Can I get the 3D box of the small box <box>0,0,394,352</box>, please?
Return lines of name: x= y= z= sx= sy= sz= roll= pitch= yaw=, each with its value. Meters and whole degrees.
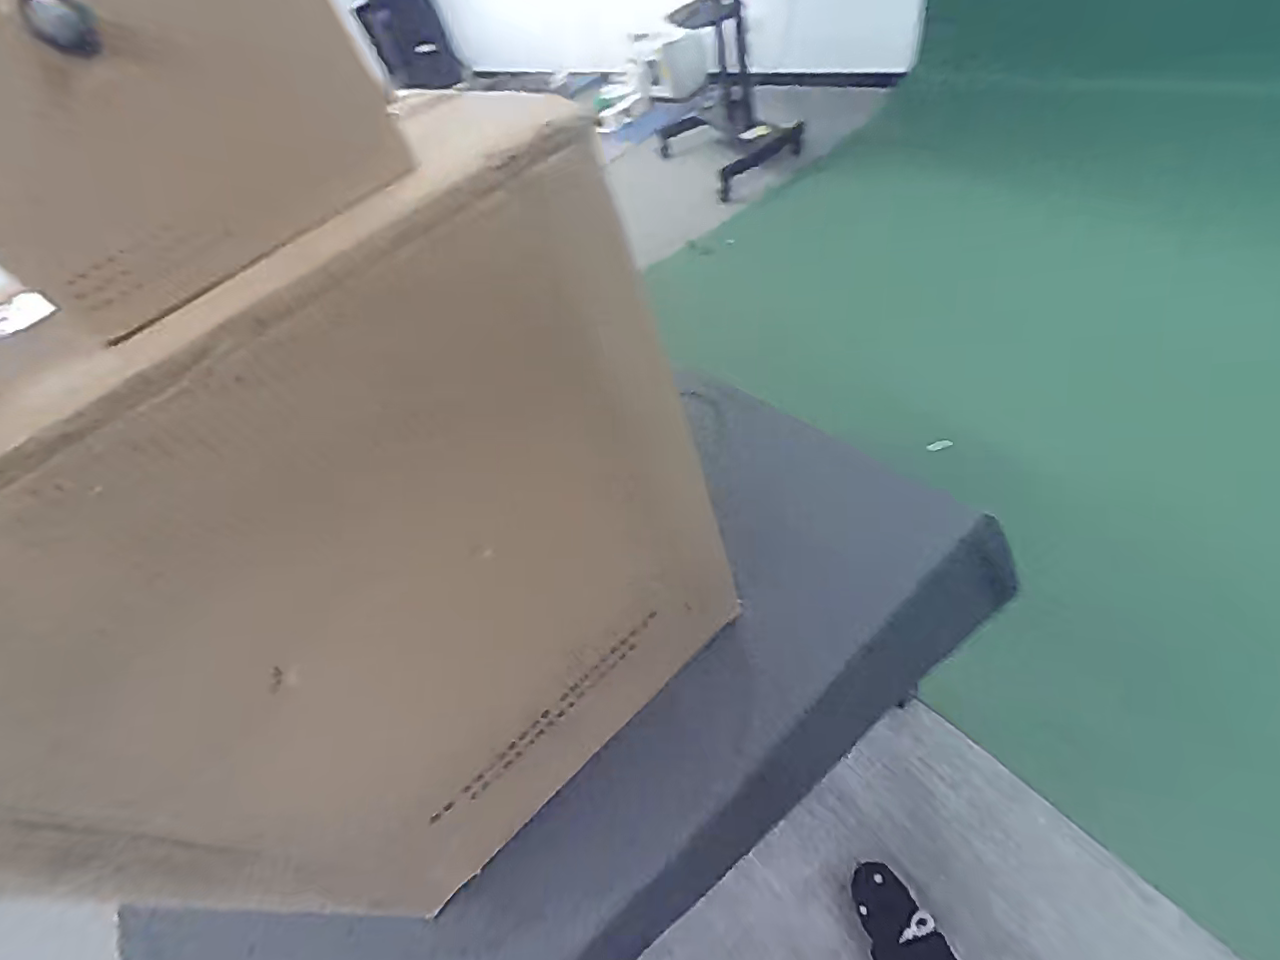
small box: x=-0.251 y=-0.196 z=0.262 sx=0.179 sy=0.176 sz=0.168 roll=-40 pitch=50 yaw=-14
